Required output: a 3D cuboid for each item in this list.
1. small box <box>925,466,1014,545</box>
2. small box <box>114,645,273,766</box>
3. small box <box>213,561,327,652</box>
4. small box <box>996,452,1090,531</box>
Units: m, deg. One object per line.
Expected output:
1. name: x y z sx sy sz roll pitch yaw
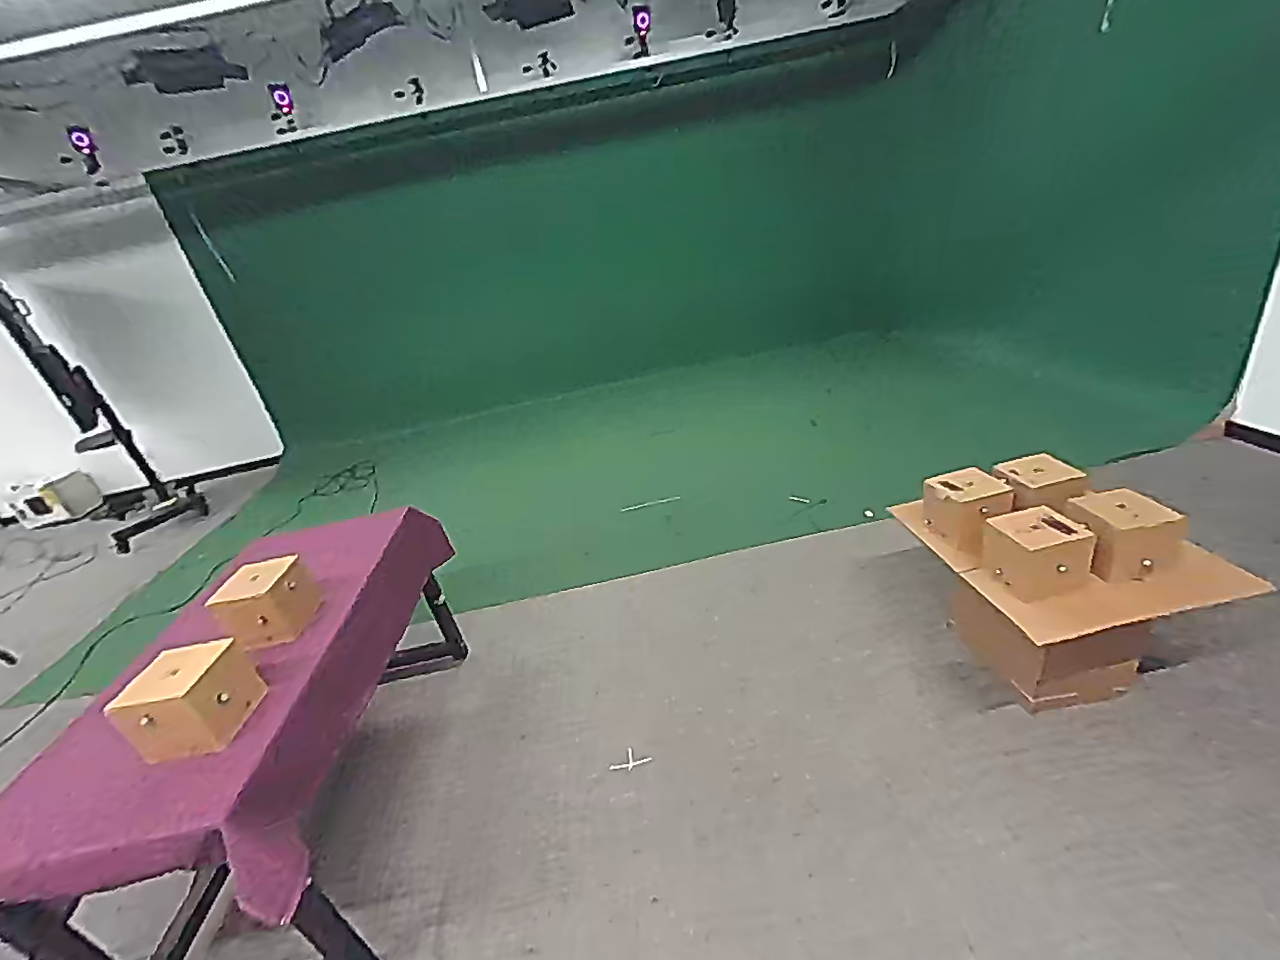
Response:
1. small box: 1.015 0.080 1.674 0.179 0.176 0.168 -15 26 -5
2. small box: -0.964 0.496 1.190 0.179 0.176 0.168 -12 26 4
3. small box: -1.004 0.355 1.491 0.168 0.176 0.179 -12 25 2
4. small box: 1.225 0.035 1.667 0.179 0.176 0.168 -13 25 -3
